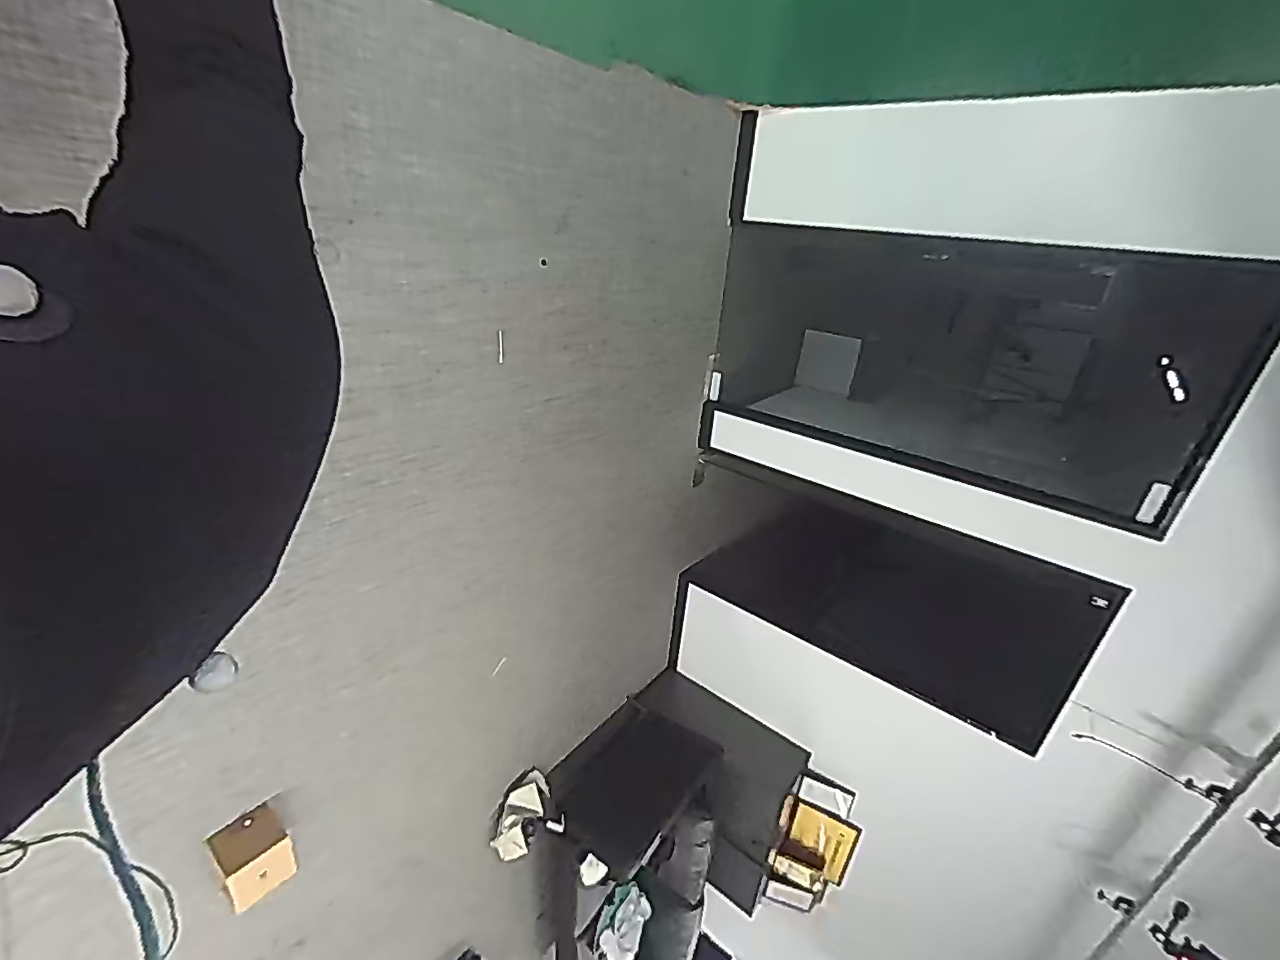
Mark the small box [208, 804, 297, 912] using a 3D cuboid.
[{"bbox_3d":[-1.185,1.148,1.654,0.168,0.176,0.179,-23,127,-50],"label":"small box"}]
